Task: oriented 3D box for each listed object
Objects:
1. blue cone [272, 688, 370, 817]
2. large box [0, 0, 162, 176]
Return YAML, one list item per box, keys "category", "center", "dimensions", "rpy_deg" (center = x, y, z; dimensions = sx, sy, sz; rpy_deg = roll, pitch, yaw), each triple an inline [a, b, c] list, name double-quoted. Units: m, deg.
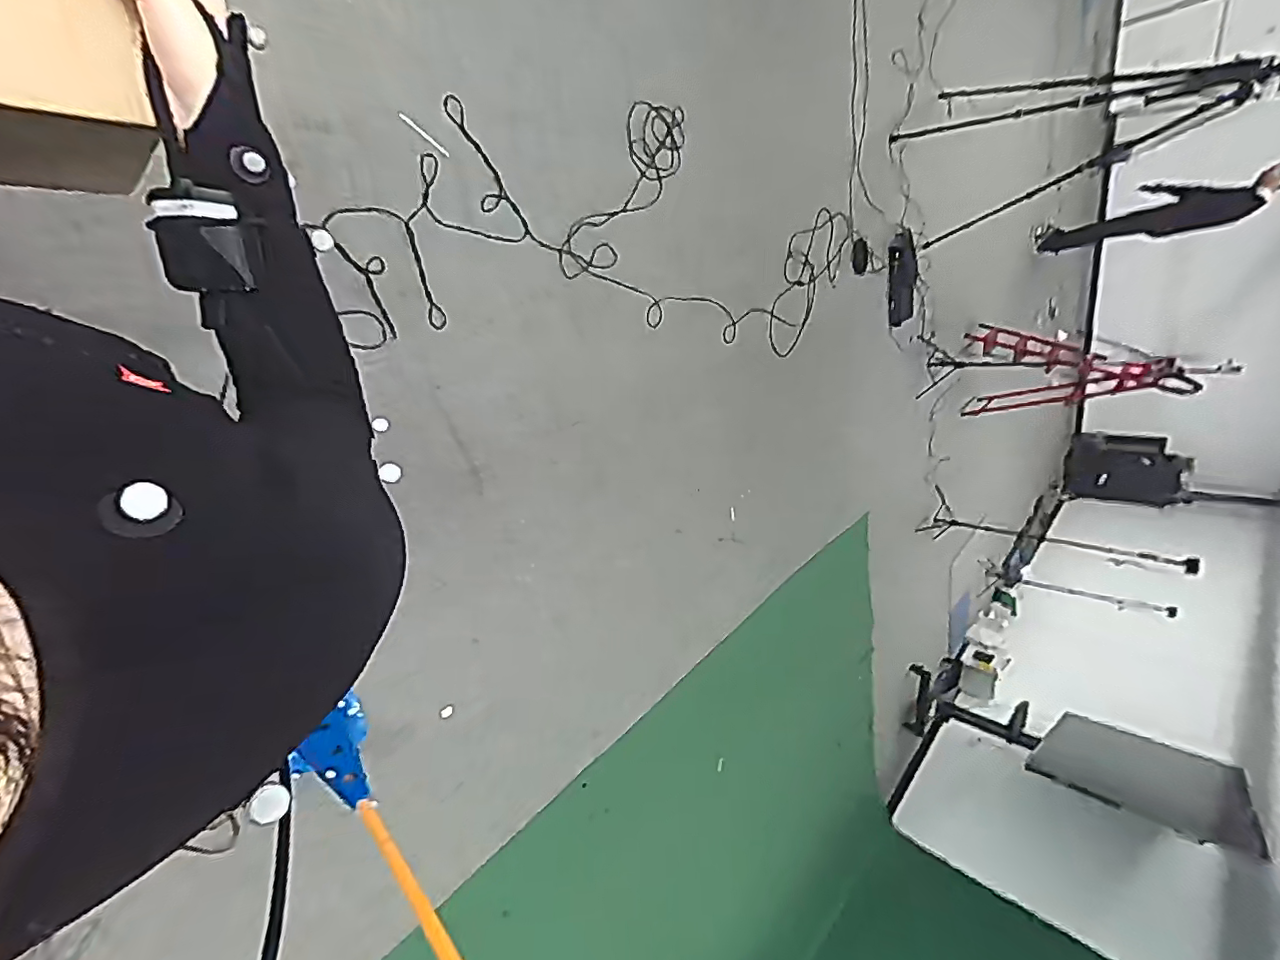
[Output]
- category: "blue cone"
  center: [-0.744, 0.690, 1.324]
  dimensions: [0.193, 0.380, 0.192]
  rpy_deg: [-19, 112, -41]
- category: "large box"
  center: [-0.566, -0.372, 0.274]
  dimensions: [0.408, 0.320, 0.320]
  rpy_deg: [-20, 117, -43]
